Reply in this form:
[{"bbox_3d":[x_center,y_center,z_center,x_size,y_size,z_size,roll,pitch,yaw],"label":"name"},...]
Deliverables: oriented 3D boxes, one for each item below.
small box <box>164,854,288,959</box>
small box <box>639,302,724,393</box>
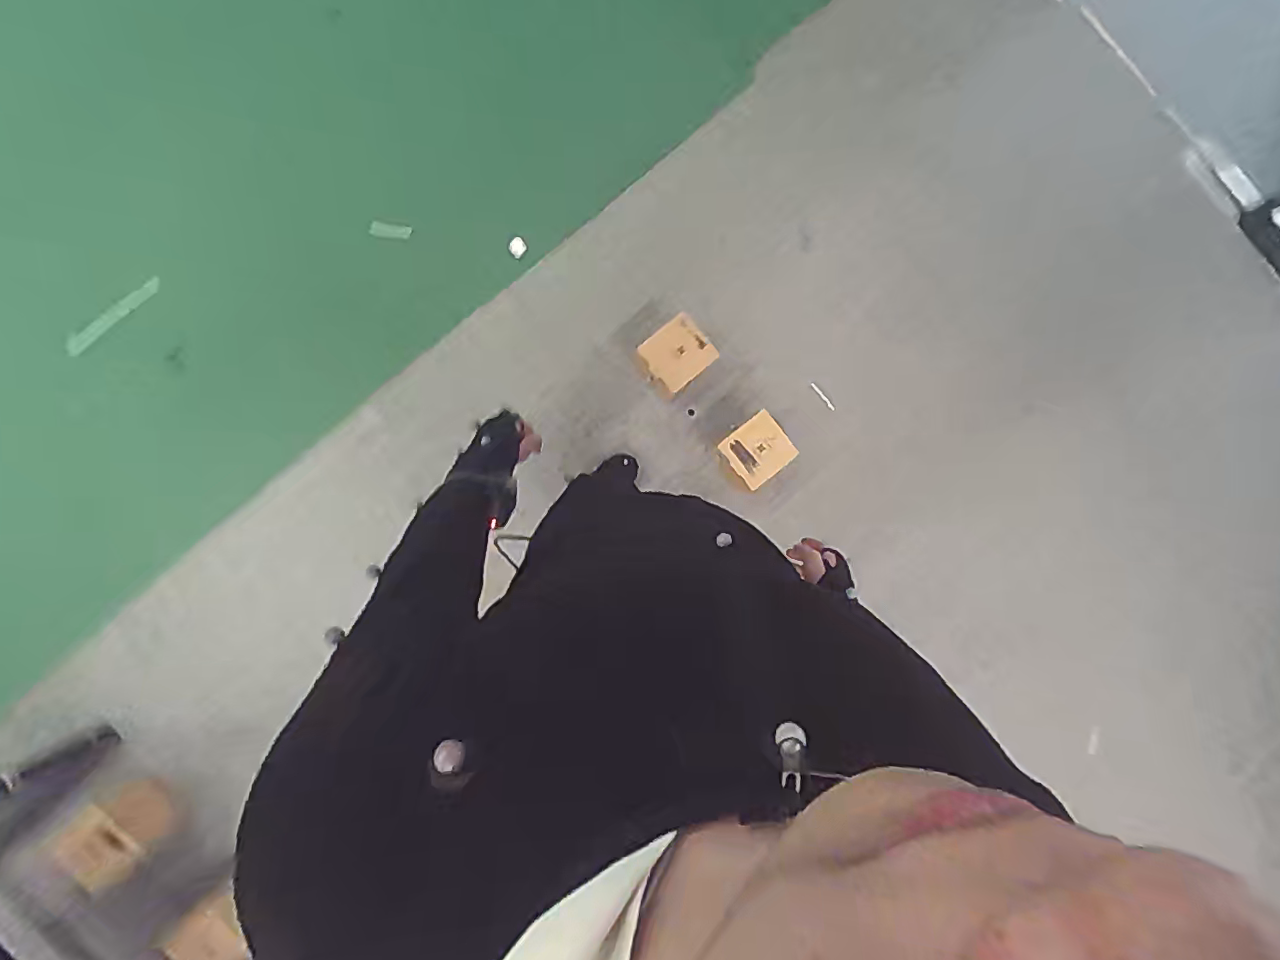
[{"bbox_3d":[-1.142,1.193,1.507,0.168,0.176,0.179,-41,93,-1],"label":"small box"},{"bbox_3d":[0.114,-0.371,1.553,0.179,0.176,0.168,-39,92,-2],"label":"small box"}]
